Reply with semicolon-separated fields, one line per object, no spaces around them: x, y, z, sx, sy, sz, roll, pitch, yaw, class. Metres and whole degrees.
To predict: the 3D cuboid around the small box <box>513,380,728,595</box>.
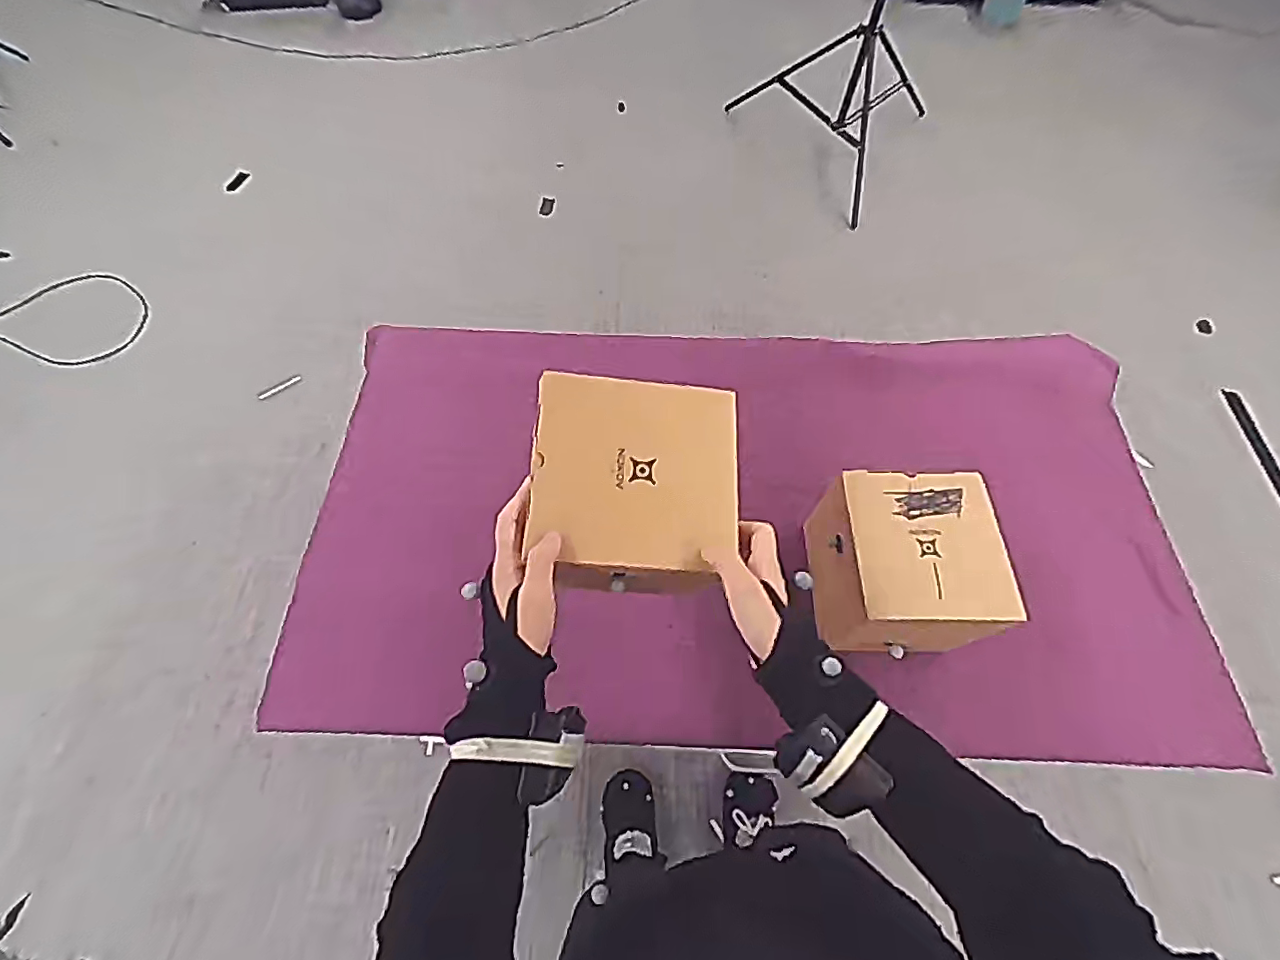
-0.022;0.021;0.532;0.179;0.176;0.168;4;72;-7;small box

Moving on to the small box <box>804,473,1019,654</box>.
0.311;0.108;0.666;0.168;0.176;0.179;1;63;0;small box
